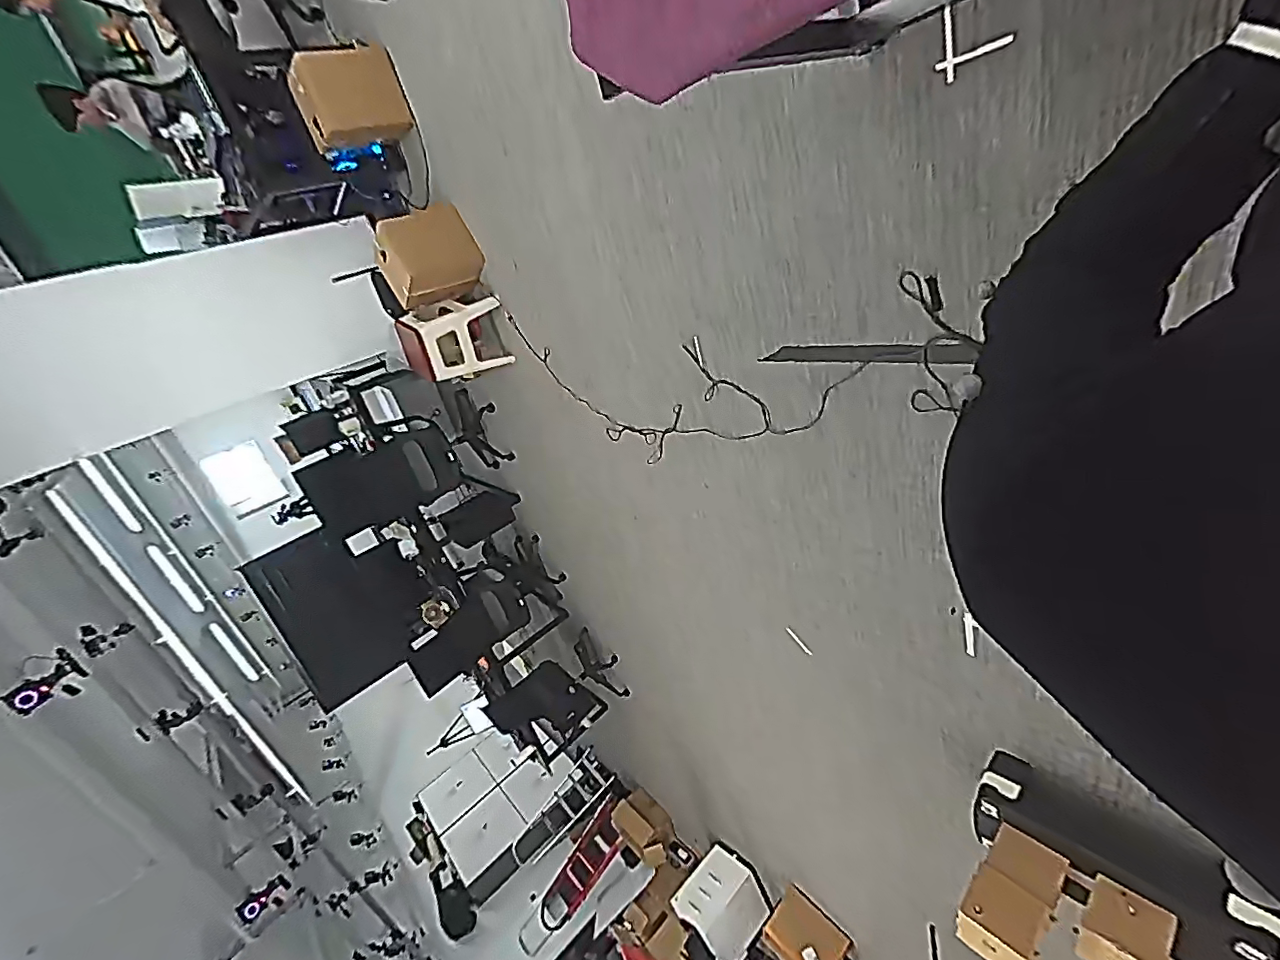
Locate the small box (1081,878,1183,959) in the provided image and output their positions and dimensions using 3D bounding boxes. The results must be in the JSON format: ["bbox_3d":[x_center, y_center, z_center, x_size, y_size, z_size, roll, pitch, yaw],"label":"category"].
[{"bbox_3d":[1.314,1.230,1.445,0.168,0.176,0.179,16,130,48],"label":"small box"}]

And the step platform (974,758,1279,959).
[{"bbox_3d":[1.390,1.150,1.603,0.684,0.204,0.286,13,129,49],"label":"step platform"}]

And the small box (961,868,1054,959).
[{"bbox_3d":[1.045,1.265,1.538,0.179,0.176,0.168,18,132,48],"label":"small box"}]
